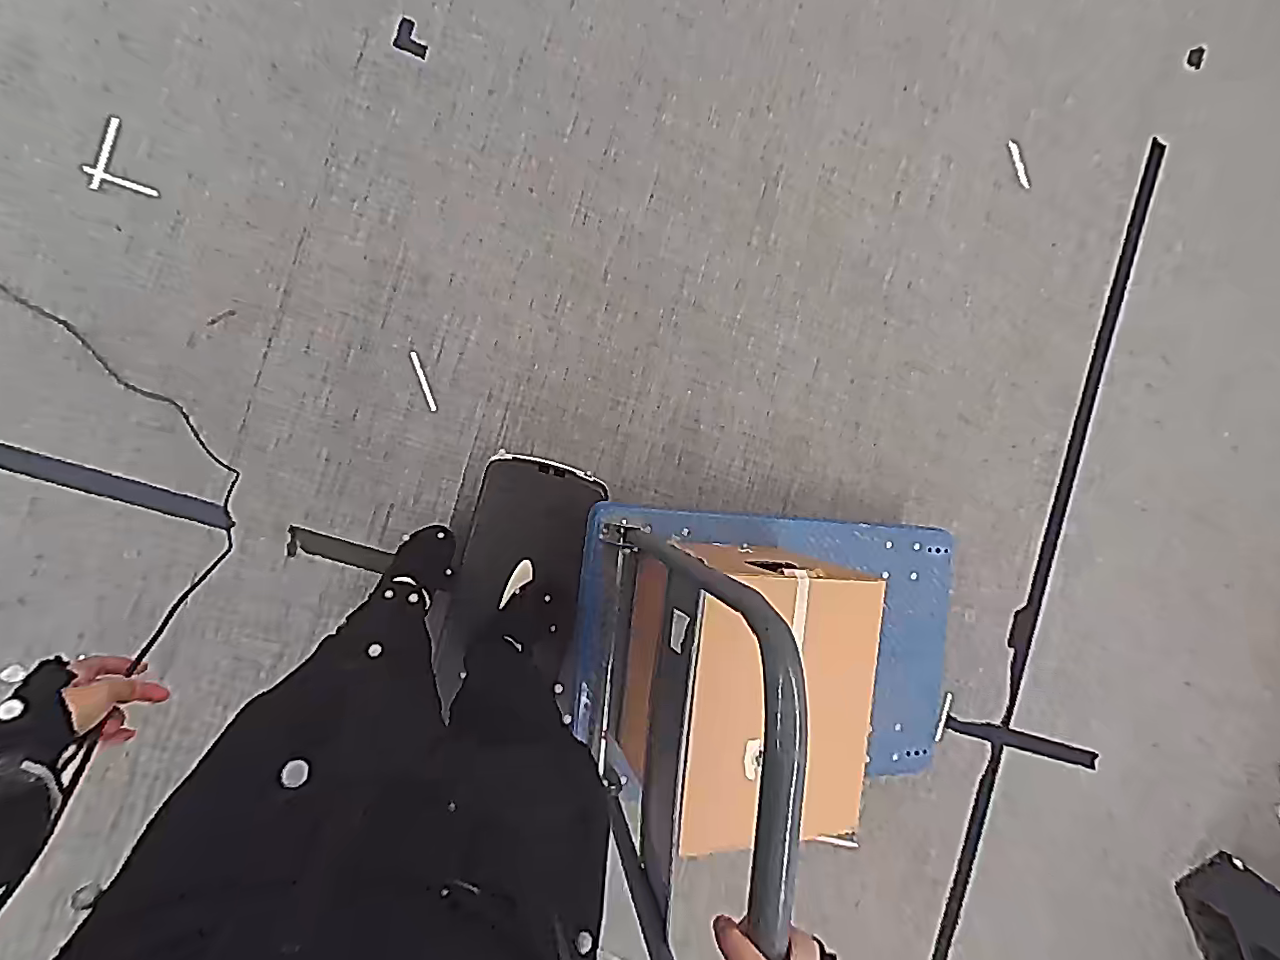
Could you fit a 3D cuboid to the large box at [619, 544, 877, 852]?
[{"bbox_3d":[0.166,0.337,0.951,0.320,0.320,0.408,6,91,-18],"label":"large box"}]
